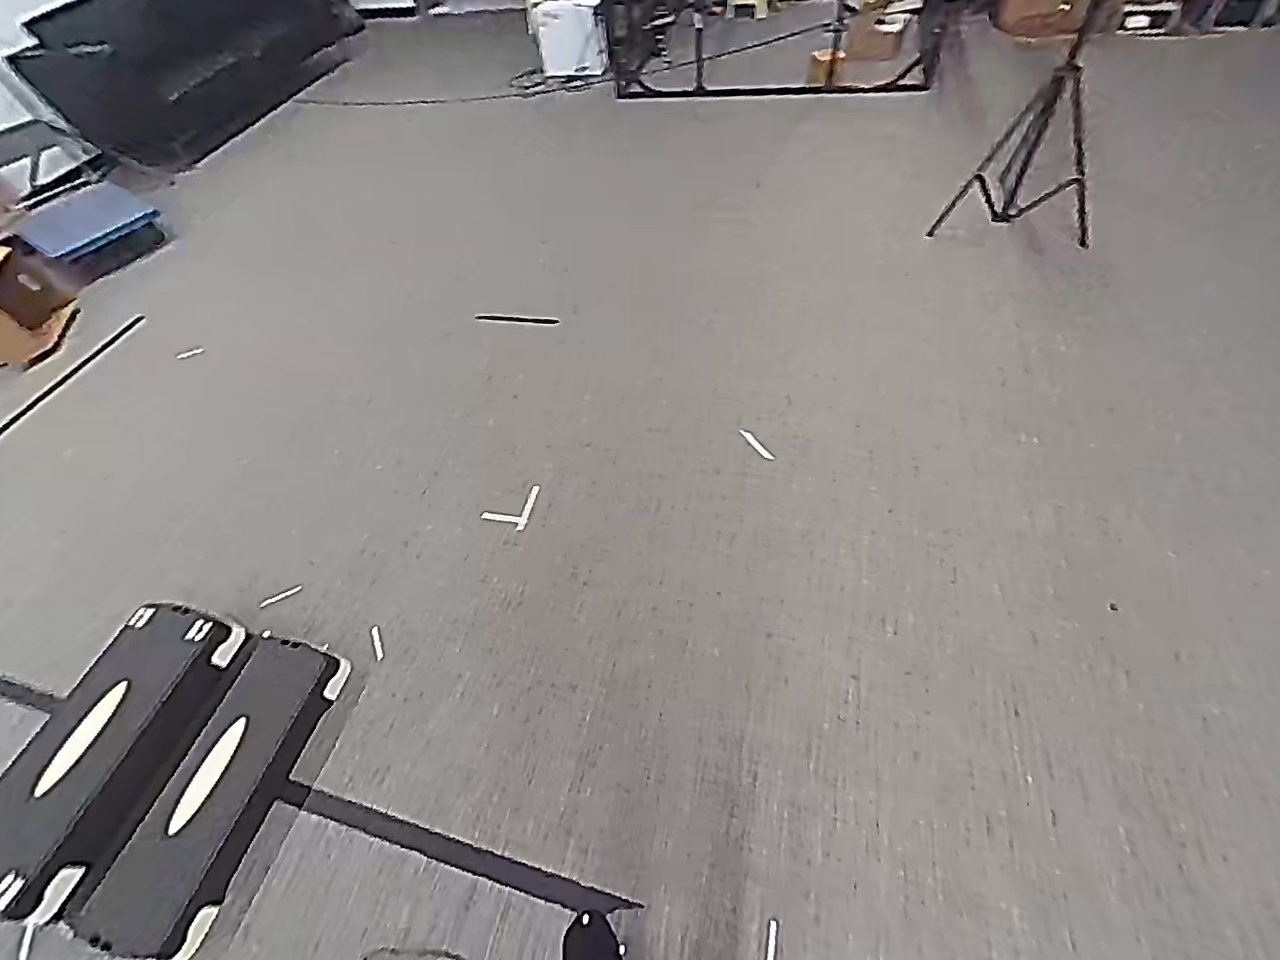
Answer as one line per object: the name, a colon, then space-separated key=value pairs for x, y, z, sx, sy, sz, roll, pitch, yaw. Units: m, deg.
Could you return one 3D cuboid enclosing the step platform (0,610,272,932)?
step platform: x=-1.276 y=0.674 z=1.345 sx=0.286 sy=0.204 sz=0.684 roll=8 pitch=54 yaw=13
